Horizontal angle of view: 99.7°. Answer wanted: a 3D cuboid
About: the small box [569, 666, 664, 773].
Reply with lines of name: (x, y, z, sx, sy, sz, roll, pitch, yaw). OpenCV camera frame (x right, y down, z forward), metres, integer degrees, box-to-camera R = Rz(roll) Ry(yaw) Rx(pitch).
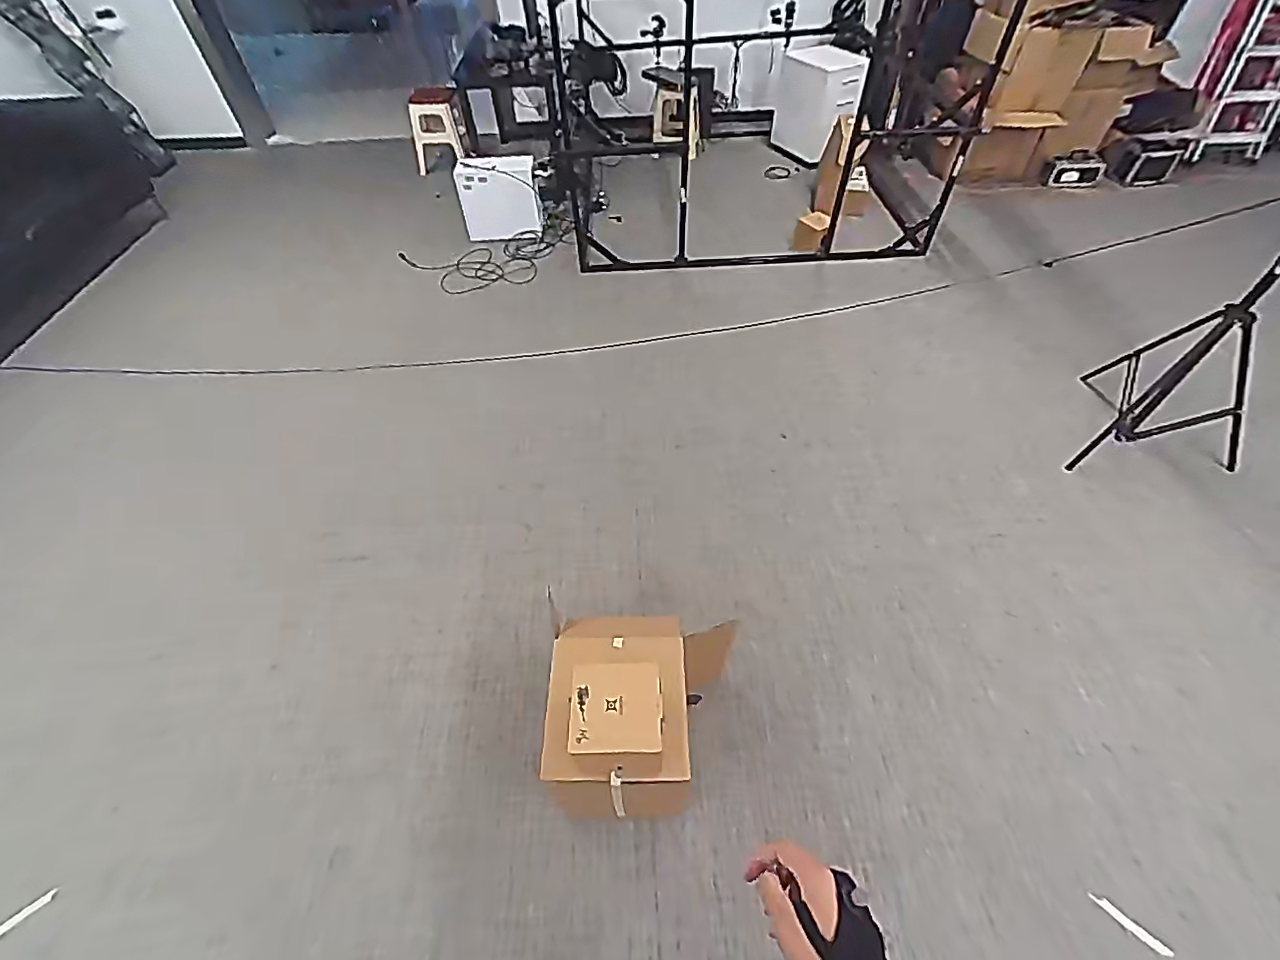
small box: (-0.042, 0.491, 1.102, 0.179, 0.176, 0.168, 0, 51, 1)
